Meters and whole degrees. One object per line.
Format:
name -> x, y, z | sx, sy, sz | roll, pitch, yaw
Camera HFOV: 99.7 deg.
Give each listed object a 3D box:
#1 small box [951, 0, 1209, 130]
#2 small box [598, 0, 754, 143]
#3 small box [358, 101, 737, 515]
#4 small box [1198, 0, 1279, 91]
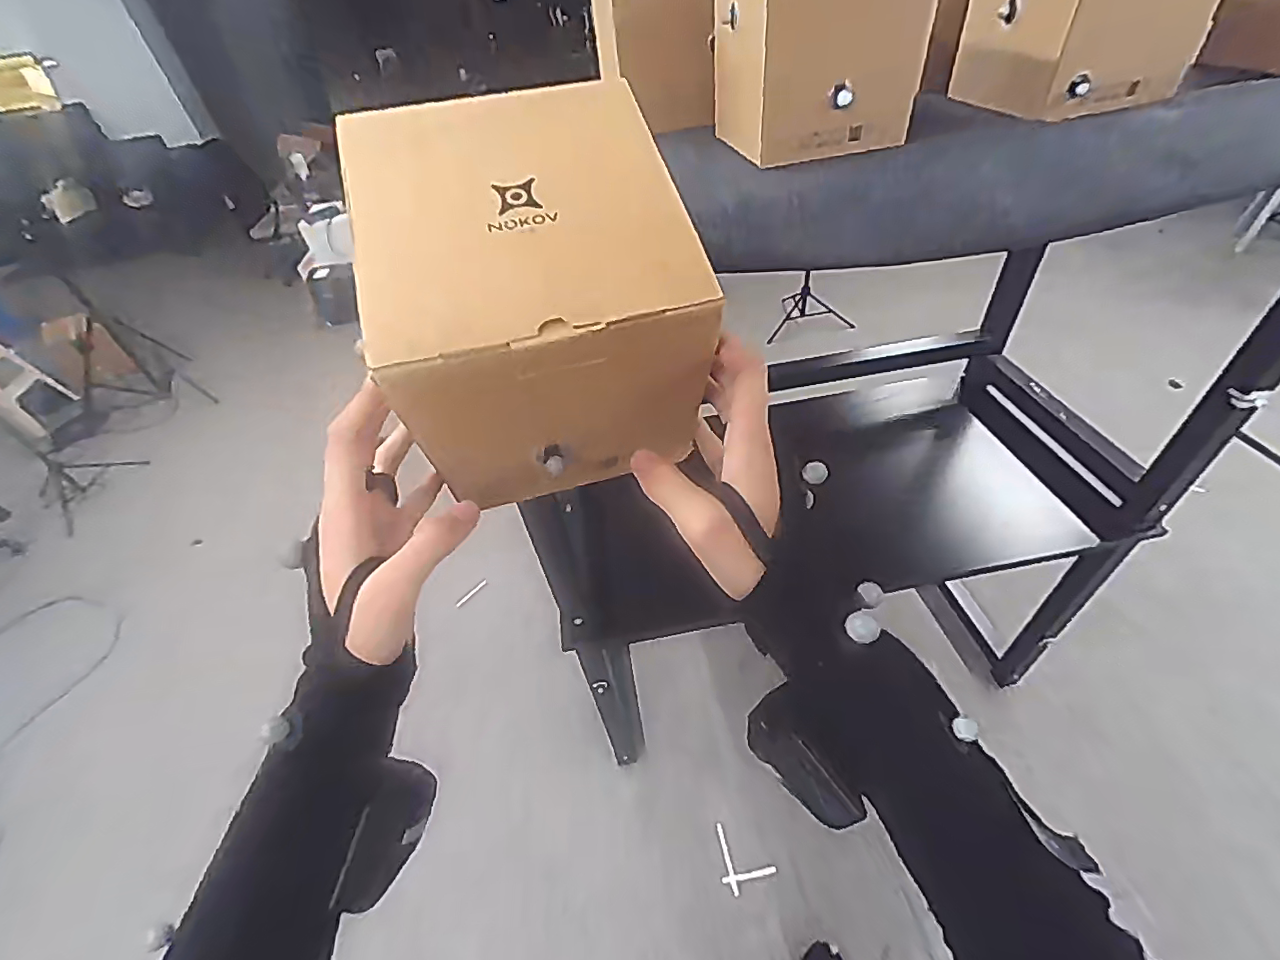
small box -> 0.500, -0.518, 0.619 | 0.168, 0.176, 0.179 | -12, 44, -4
small box -> 0.043, -0.584, 0.747 | 0.179, 0.176, 0.168 | -12, 45, -5
small box -> -0.059, -0.100, 0.352 | 0.168, 0.176, 0.179 | -15, 68, -9
small box -> 0.817, -0.554, 0.610 | 0.168, 0.176, 0.179 | -11, 43, -3
